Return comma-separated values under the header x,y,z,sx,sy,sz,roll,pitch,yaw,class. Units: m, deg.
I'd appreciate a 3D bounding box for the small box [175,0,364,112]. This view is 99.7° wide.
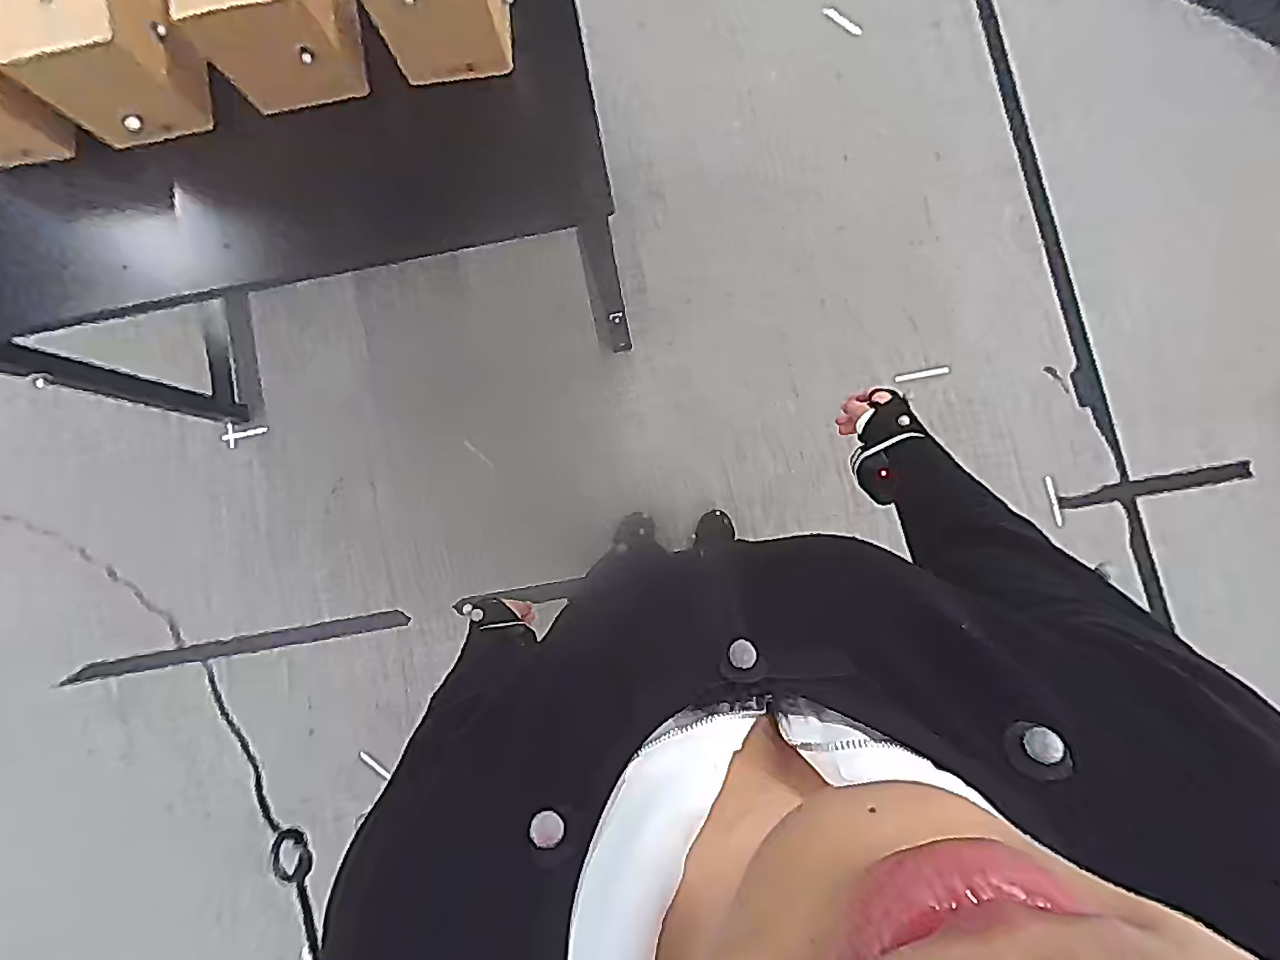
x,y,z,sx,sy,sz,roll,pitch,yaw,class
-0.527,-0.683,0.787,0.179,0.176,0.168,-11,84,2,small box

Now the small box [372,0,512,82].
x,y,z,sx,sy,sz,roll,pitch,yaw,class
-0.290,-0.725,0.779,0.168,0.176,0.179,-5,84,2,small box

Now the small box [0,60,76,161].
x,y,z,sx,sy,sz,roll,pitch,yaw,class
-0.993,-0.602,0.796,0.168,0.176,0.179,-8,85,1,small box

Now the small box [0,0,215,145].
x,y,z,sx,sy,sz,roll,pitch,yaw,class
-0.772,-0.638,0.791,0.168,0.176,0.179,-11,86,1,small box
